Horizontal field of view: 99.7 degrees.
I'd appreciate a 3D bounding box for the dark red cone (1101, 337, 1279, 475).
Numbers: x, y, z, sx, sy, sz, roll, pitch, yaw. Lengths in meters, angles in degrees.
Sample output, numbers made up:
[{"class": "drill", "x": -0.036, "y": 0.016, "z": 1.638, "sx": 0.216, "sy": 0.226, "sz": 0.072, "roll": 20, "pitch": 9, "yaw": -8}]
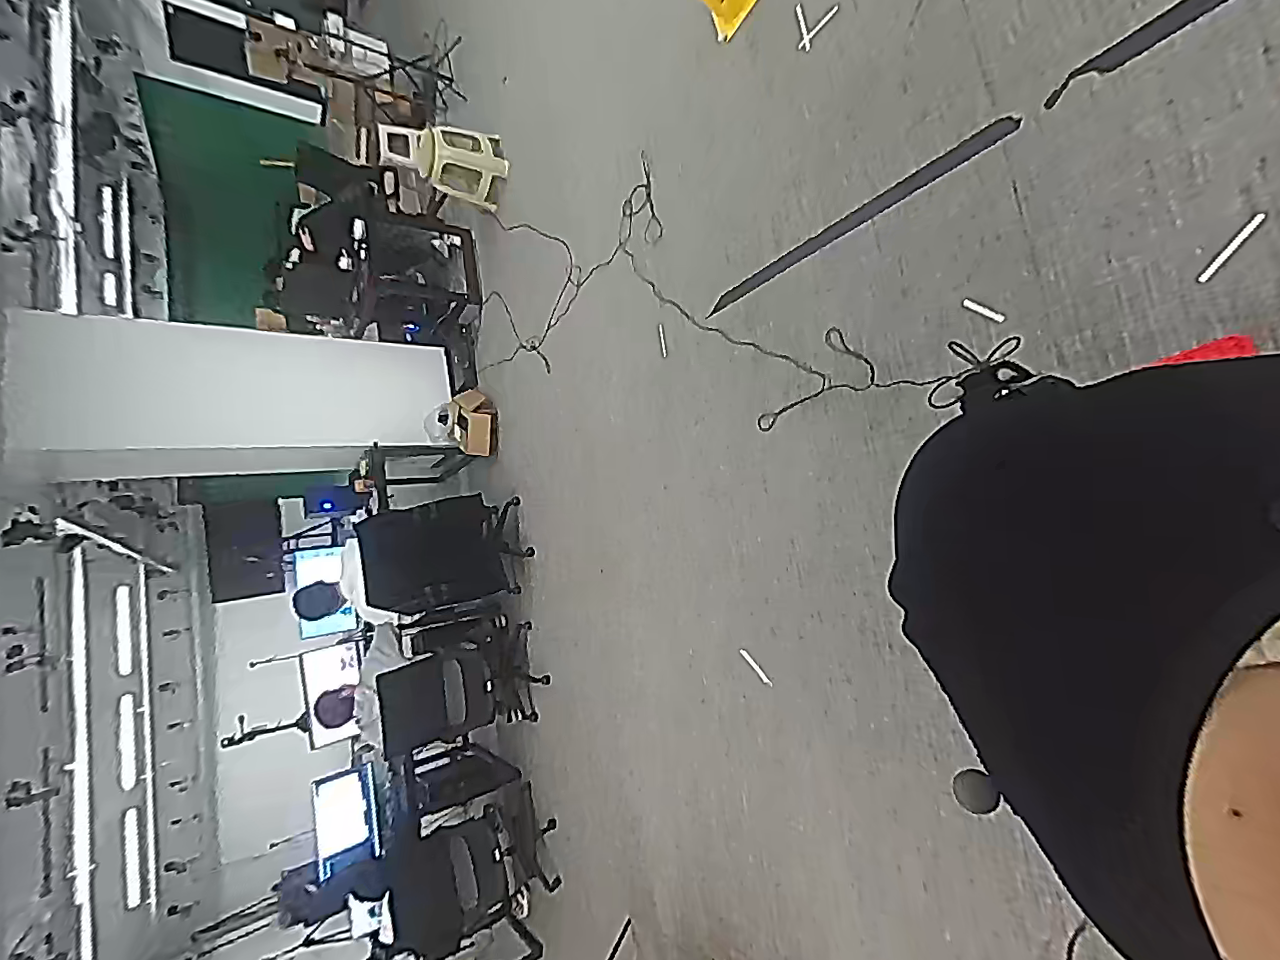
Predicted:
[{"class": "dark red cone", "x": 0.845, "y": -0.120, "z": 0.873, "sx": 0.202, "sy": 0.394, "sz": 0.201, "roll": -30, "pitch": 68, "yaw": 52}]
